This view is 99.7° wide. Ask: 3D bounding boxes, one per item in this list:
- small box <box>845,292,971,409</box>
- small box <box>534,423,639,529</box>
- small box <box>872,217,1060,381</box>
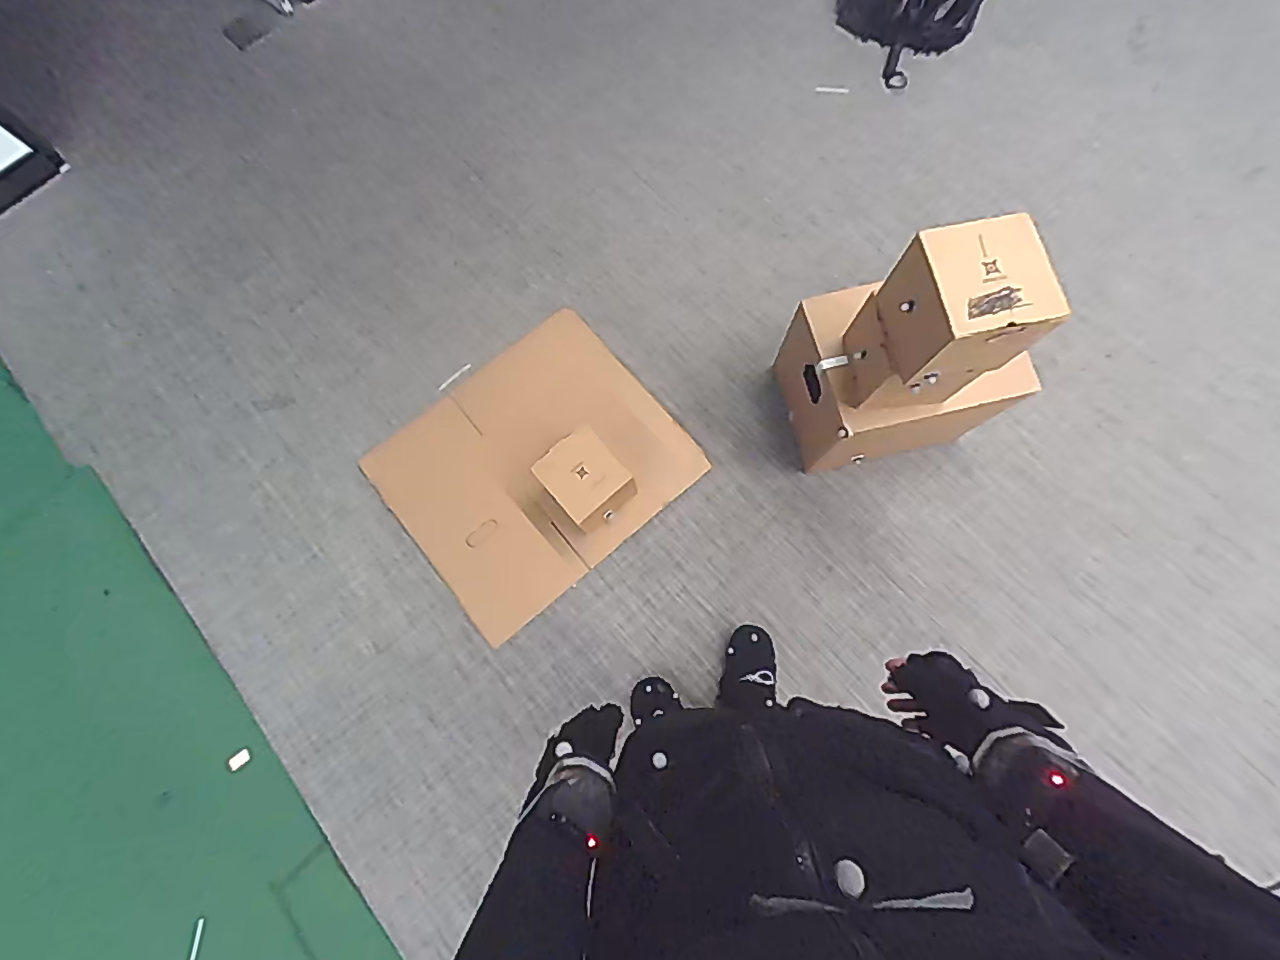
[{"bbox_3d":[0.502,-0.244,1.016,0.179,0.176,0.168,-8,75,0],"label":"small box"},{"bbox_3d":[-0.120,-0.001,1.286,0.168,0.176,0.179,-42,78,-5],"label":"small box"},{"bbox_3d":[0.495,-0.269,0.851,0.168,0.176,0.179,-13,78,0],"label":"small box"}]
